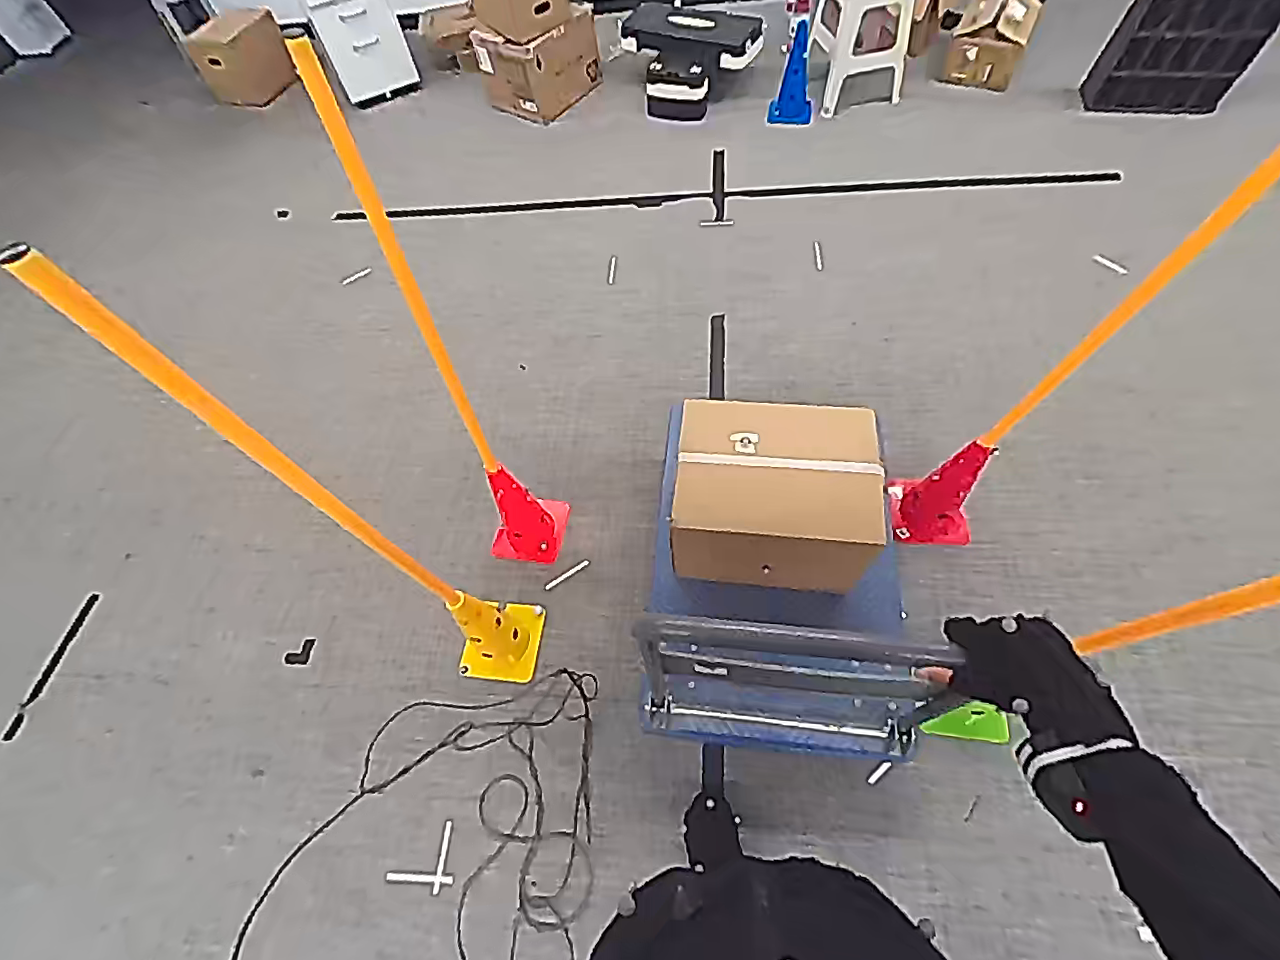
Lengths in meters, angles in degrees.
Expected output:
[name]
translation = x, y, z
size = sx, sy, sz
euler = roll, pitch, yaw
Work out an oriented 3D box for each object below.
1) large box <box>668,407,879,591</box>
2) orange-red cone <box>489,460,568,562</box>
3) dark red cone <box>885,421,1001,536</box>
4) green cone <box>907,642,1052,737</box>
[large box]
translation = 0.285, 0.051, 1.232
size = 0.408, 0.320, 0.320
euler = 4, 62, 9
[orange-red cone]
translation = -0.339, 0.054, 1.459
size = 0.198, 0.360, 0.199
euler = 8, 60, 9
[dark red cone]
translation = 0.789, -0.018, 1.365
size = 0.201, 0.394, 0.202
euler = 2, 61, 4
[green cone]
translation = 0.739, 0.411, 1.143
size = 0.202, 0.368, 0.200
euler = 5, 61, 7
